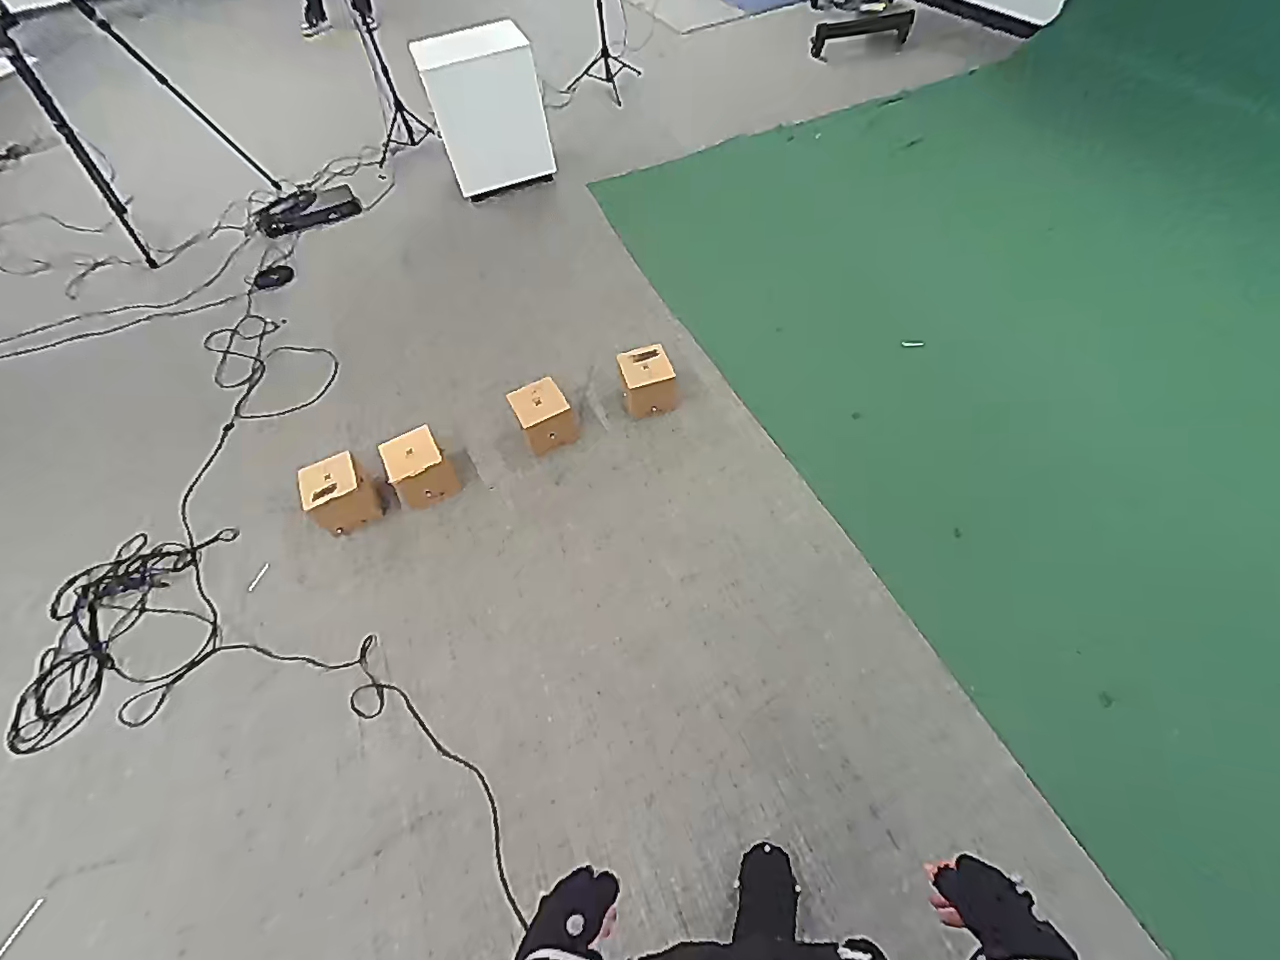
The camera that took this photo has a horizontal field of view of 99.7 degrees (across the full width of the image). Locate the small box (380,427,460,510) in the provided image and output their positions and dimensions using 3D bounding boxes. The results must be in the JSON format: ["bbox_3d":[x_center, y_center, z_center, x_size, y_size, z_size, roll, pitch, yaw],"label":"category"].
[{"bbox_3d":[-0.712,-0.034,1.758,0.168,0.176,0.179,-27,58,-13],"label":"small box"}]

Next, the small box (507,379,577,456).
[{"bbox_3d":[-0.328,-0.203,1.836,0.168,0.176,0.179,-26,57,-13],"label":"small box"}]

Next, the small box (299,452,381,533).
[{"bbox_3d":[-0.951,0.048,1.723,0.168,0.176,0.179,-25,56,-11],"label":"small box"}]
